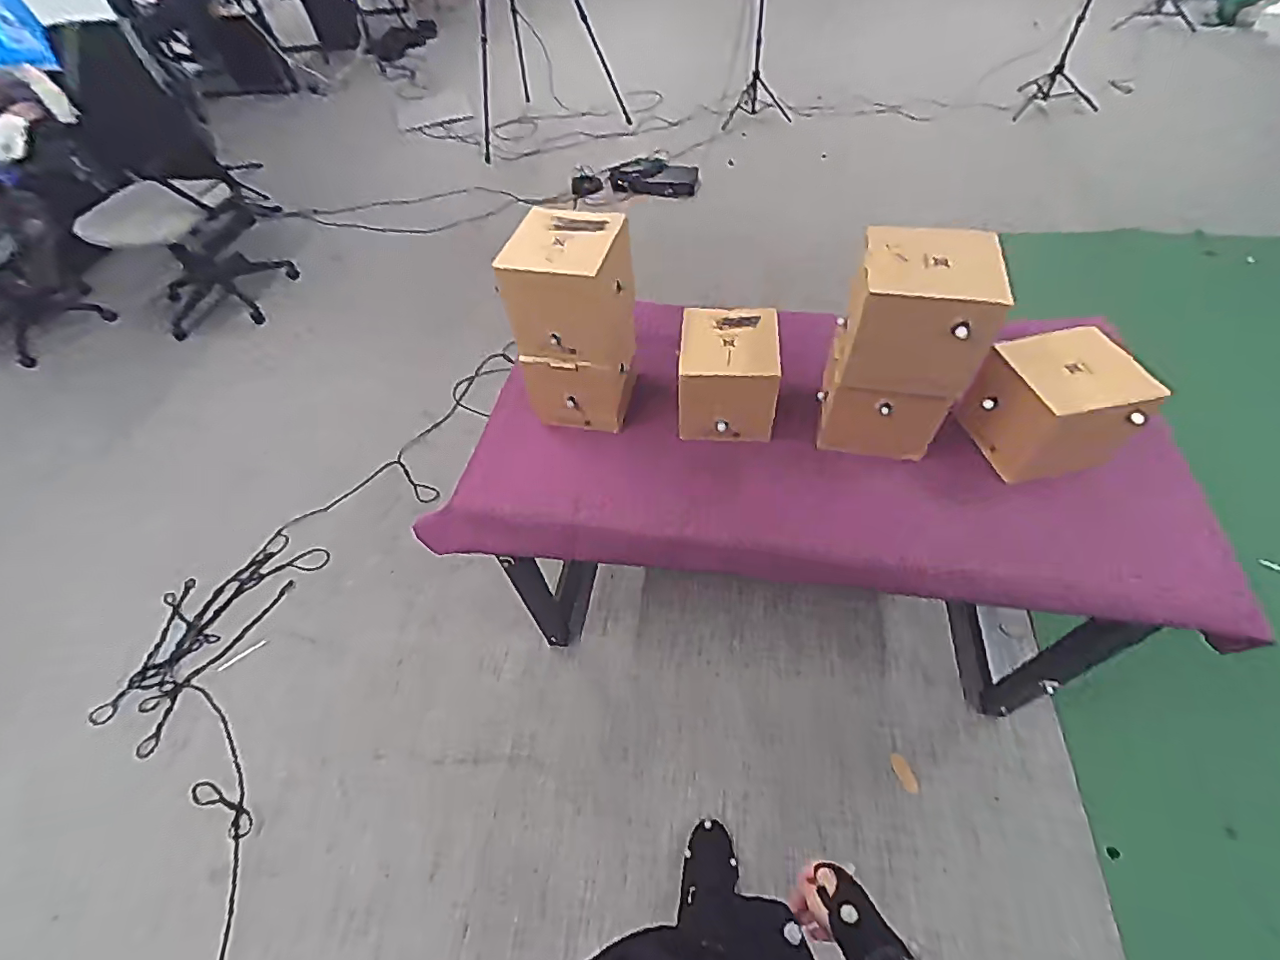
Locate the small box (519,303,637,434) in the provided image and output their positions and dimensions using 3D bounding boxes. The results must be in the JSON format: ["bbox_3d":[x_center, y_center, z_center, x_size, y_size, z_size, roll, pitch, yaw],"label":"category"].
[{"bbox_3d":[-0.105,-0.207,1.020,0.168,0.176,0.179,8,54,10],"label":"small box"}]

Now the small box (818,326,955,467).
[{"bbox_3d":[0.411,-0.140,0.928,0.179,0.176,0.168,9,55,12],"label":"small box"}]

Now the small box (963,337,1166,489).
[{"bbox_3d":[0.662,-0.104,0.878,0.179,0.176,0.168,-10,52,-3],"label":"small box"}]

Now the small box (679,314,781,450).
[{"bbox_3d":[0.158,-0.177,0.975,0.168,0.176,0.179,3,53,7],"label":"small box"}]

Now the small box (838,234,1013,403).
[{"bbox_3d":[0.403,-0.232,0.792,0.179,0.176,0.168,10,54,12],"label":"small box"}]
